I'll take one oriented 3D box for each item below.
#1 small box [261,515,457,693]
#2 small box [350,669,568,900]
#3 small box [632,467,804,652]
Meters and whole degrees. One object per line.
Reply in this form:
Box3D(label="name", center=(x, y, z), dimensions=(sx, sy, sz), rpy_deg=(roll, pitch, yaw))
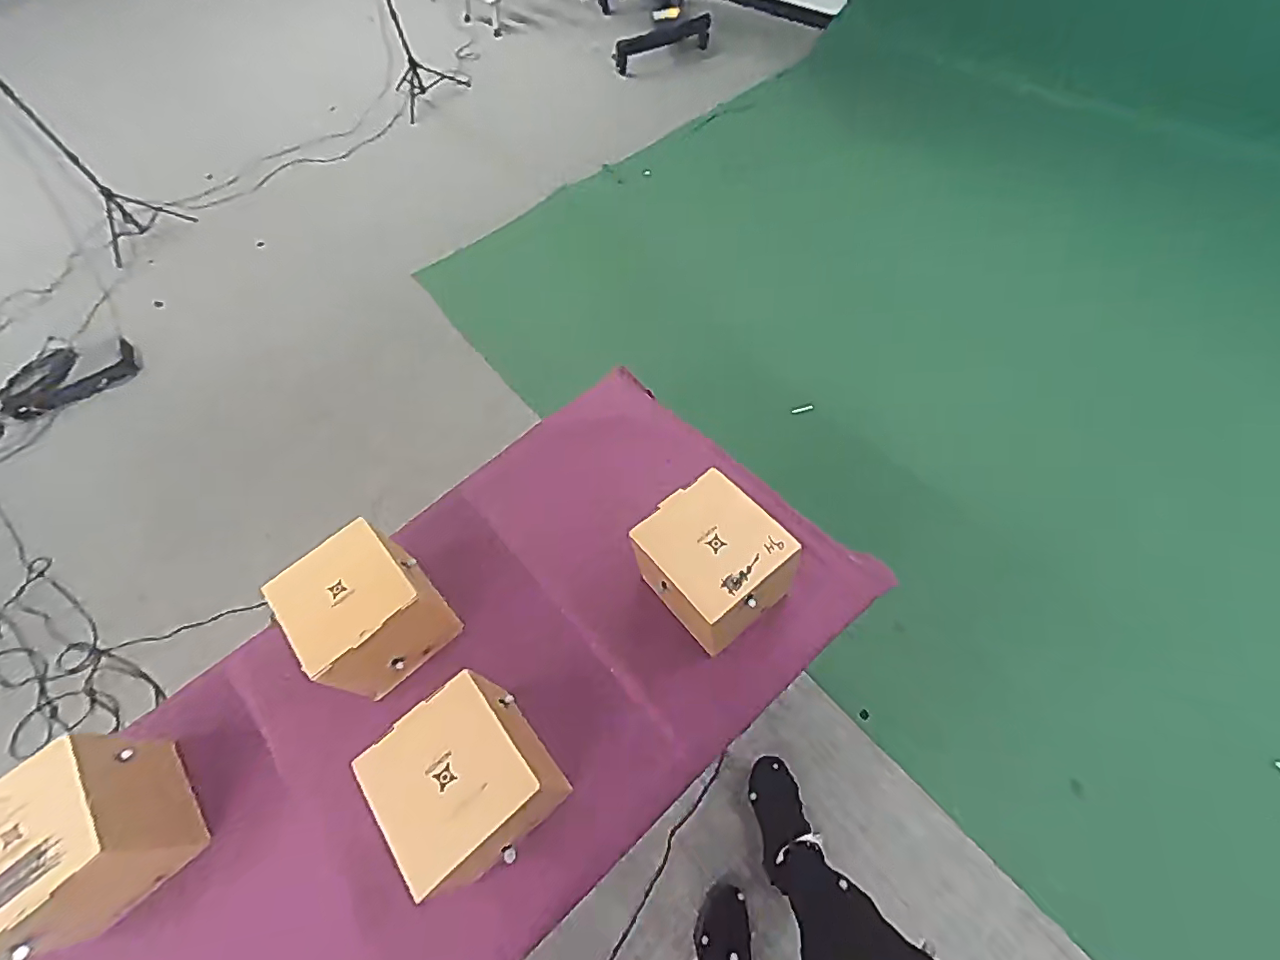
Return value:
Box3D(label="small box", center=(-0.409, 0.191, 0.811), dimensions=(0.168, 0.176, 0.179), rpy_deg=(-40, 64, -17))
Box3D(label="small box", center=(-0.216, 0.375, 0.680), dimensions=(0.168, 0.176, 0.179), rpy_deg=(-38, 62, -15))
Box3D(label="small box", center=(0.111, 0.121, 0.796), dimensions=(0.168, 0.176, 0.179), rpy_deg=(-37, 60, -14))
